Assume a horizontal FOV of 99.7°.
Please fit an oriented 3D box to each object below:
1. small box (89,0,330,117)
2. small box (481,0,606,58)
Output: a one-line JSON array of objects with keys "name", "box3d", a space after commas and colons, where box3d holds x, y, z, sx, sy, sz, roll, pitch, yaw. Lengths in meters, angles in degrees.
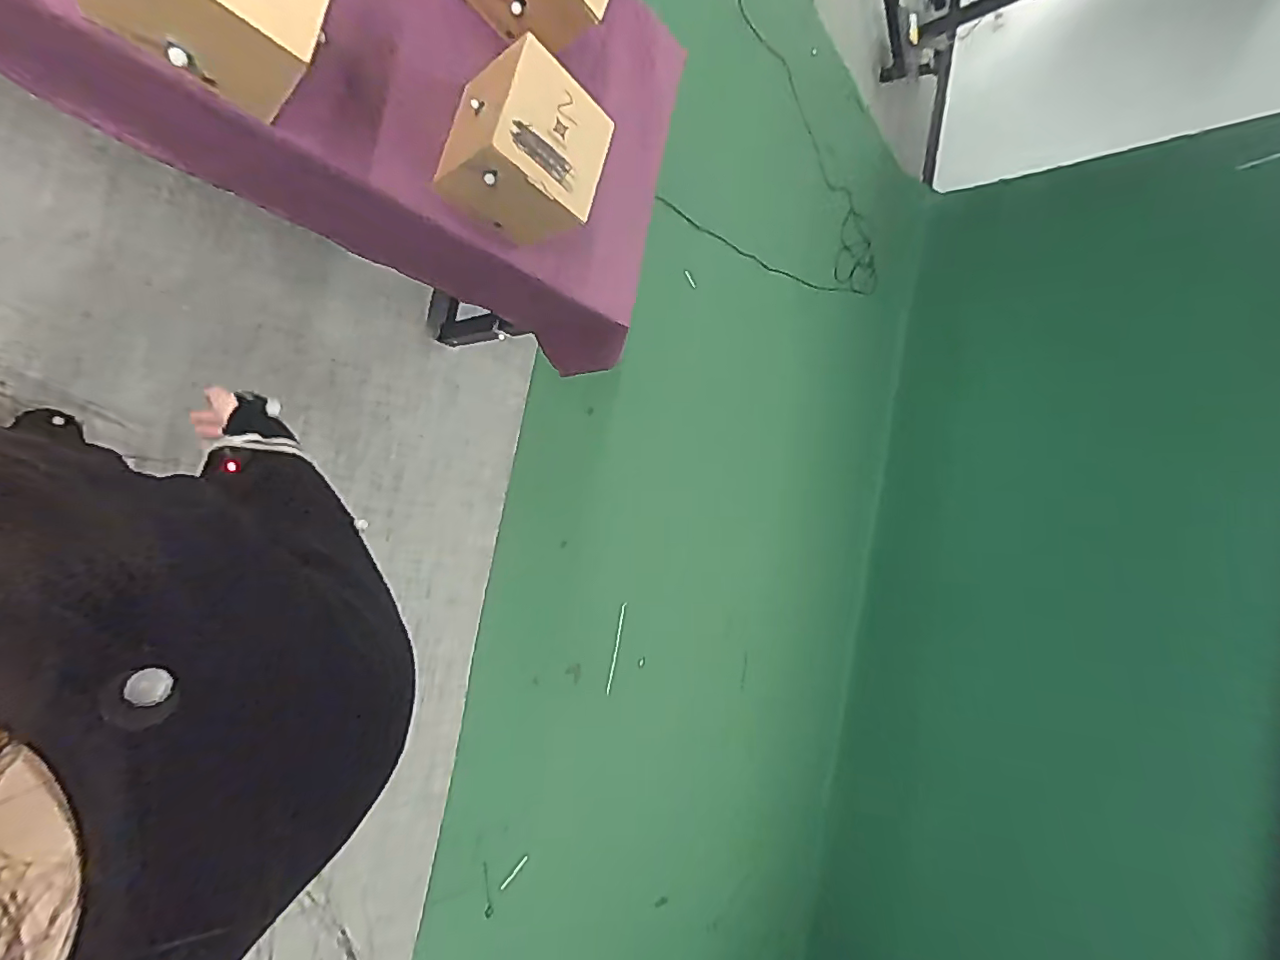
[{"name": "small box", "box3d": [-0.418, -0.518, 0.537, 0.168, 0.176, 0.179, 17, 83, -45]}, {"name": "small box", "box3d": [-0.142, -0.772, 0.782, 0.168, 0.176, 0.179, 25, 79, -45]}]
